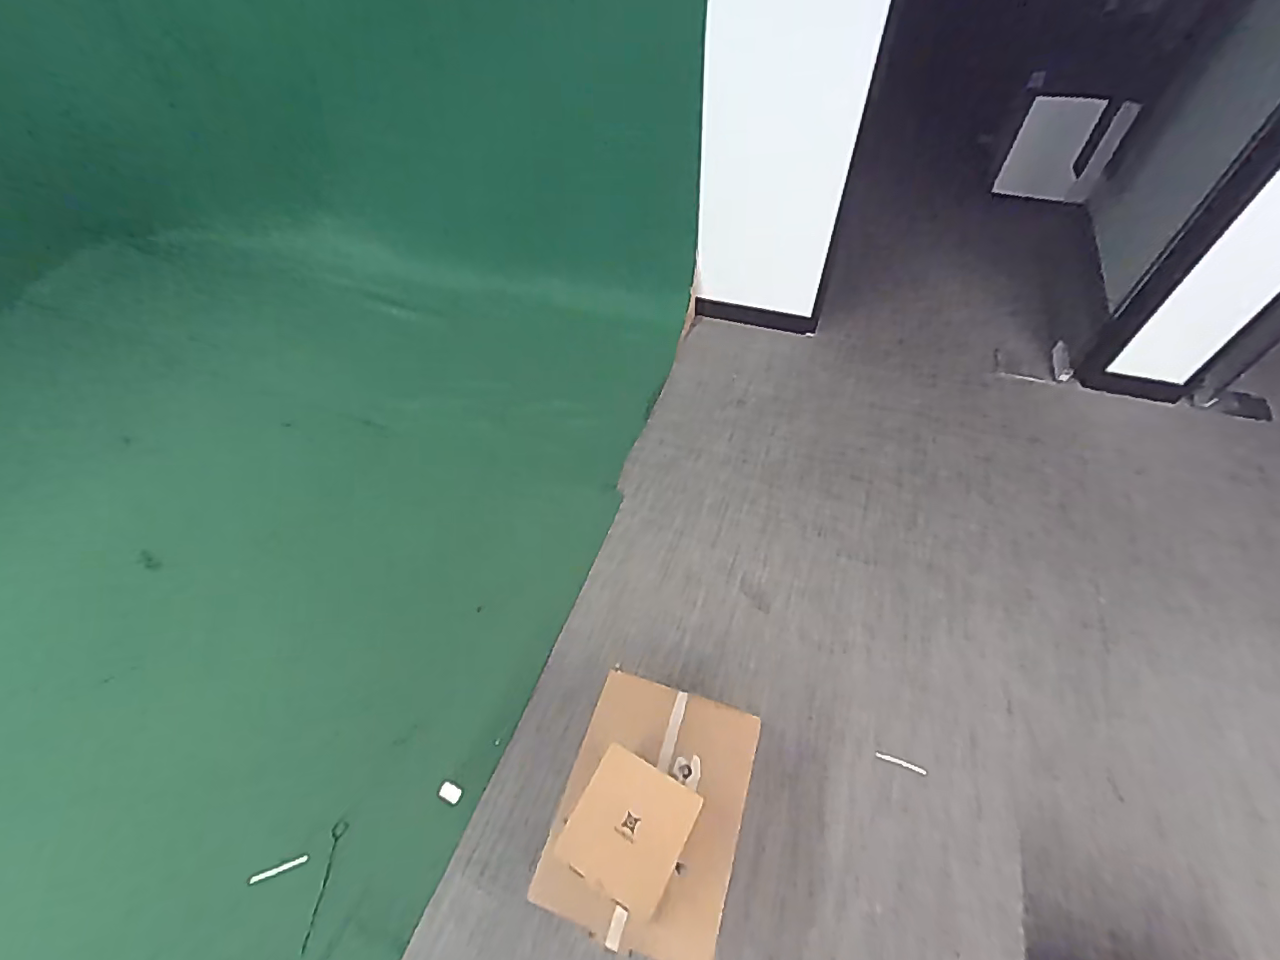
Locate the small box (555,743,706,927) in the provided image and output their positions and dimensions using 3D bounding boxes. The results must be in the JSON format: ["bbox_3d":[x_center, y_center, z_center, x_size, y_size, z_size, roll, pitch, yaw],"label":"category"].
[{"bbox_3d":[-0.009,0.556,0.858,0.168,0.176,0.179,23,59,20],"label":"small box"}]

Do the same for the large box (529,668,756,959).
[{"bbox_3d":[0.027,0.661,1.082,0.320,0.320,0.408,14,55,13],"label":"large box"}]
